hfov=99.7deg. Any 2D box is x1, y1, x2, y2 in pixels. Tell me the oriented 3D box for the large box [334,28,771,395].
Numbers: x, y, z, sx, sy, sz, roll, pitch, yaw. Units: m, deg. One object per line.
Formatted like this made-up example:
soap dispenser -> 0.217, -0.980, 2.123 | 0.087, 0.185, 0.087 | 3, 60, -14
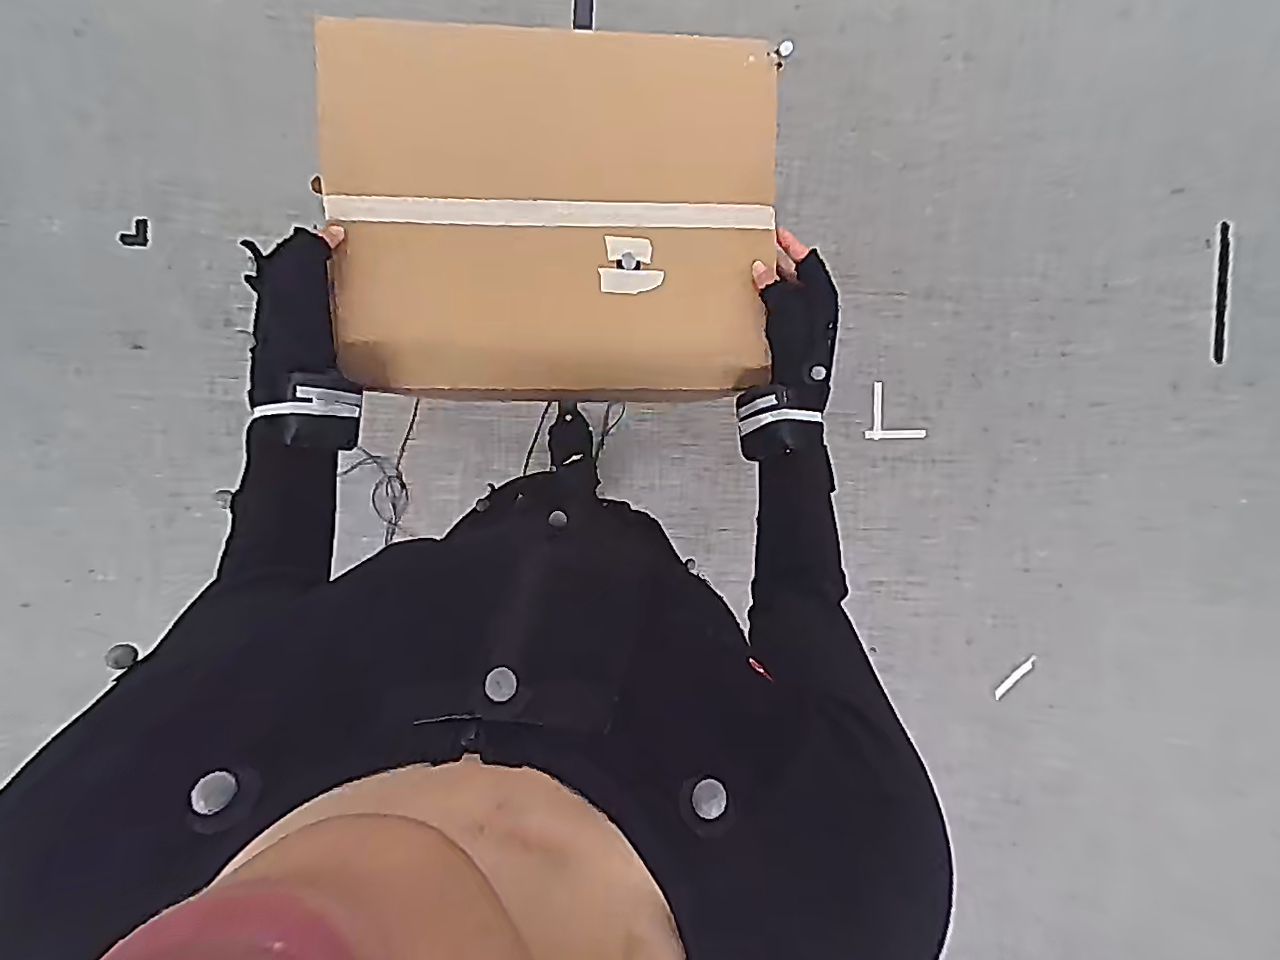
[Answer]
large box -> -0.086, -0.268, 0.656 | 0.408, 0.320, 0.320 | -1, 97, -5
